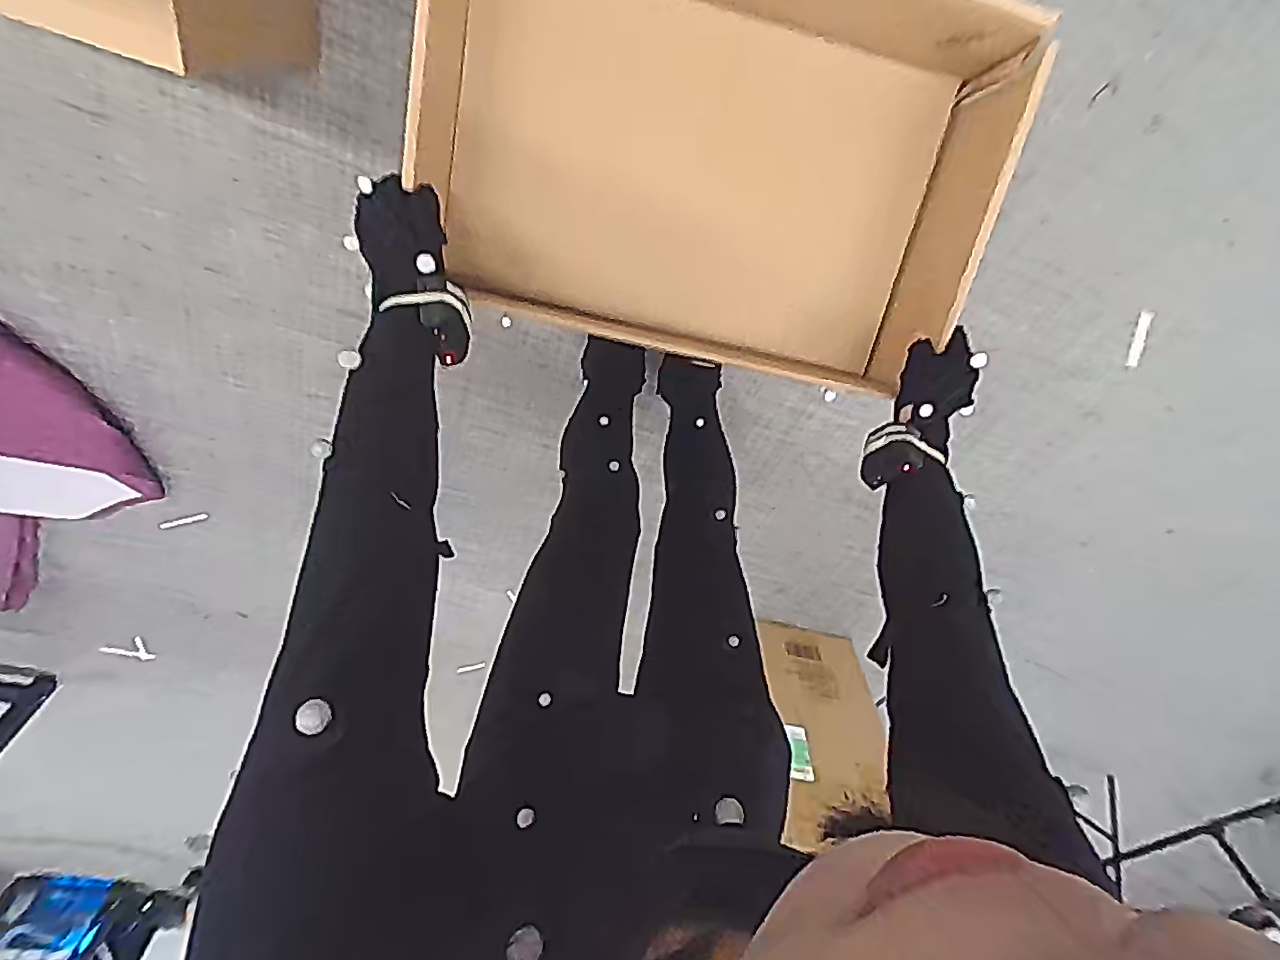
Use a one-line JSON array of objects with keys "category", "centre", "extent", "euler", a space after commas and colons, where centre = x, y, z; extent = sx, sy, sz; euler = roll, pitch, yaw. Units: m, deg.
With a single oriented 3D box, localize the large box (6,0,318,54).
[{"category": "large box", "centre": [-0.599, -0.670, 0.525], "extent": [0.408, 0.320, 0.320], "euler": [12, 129, -12]}]
